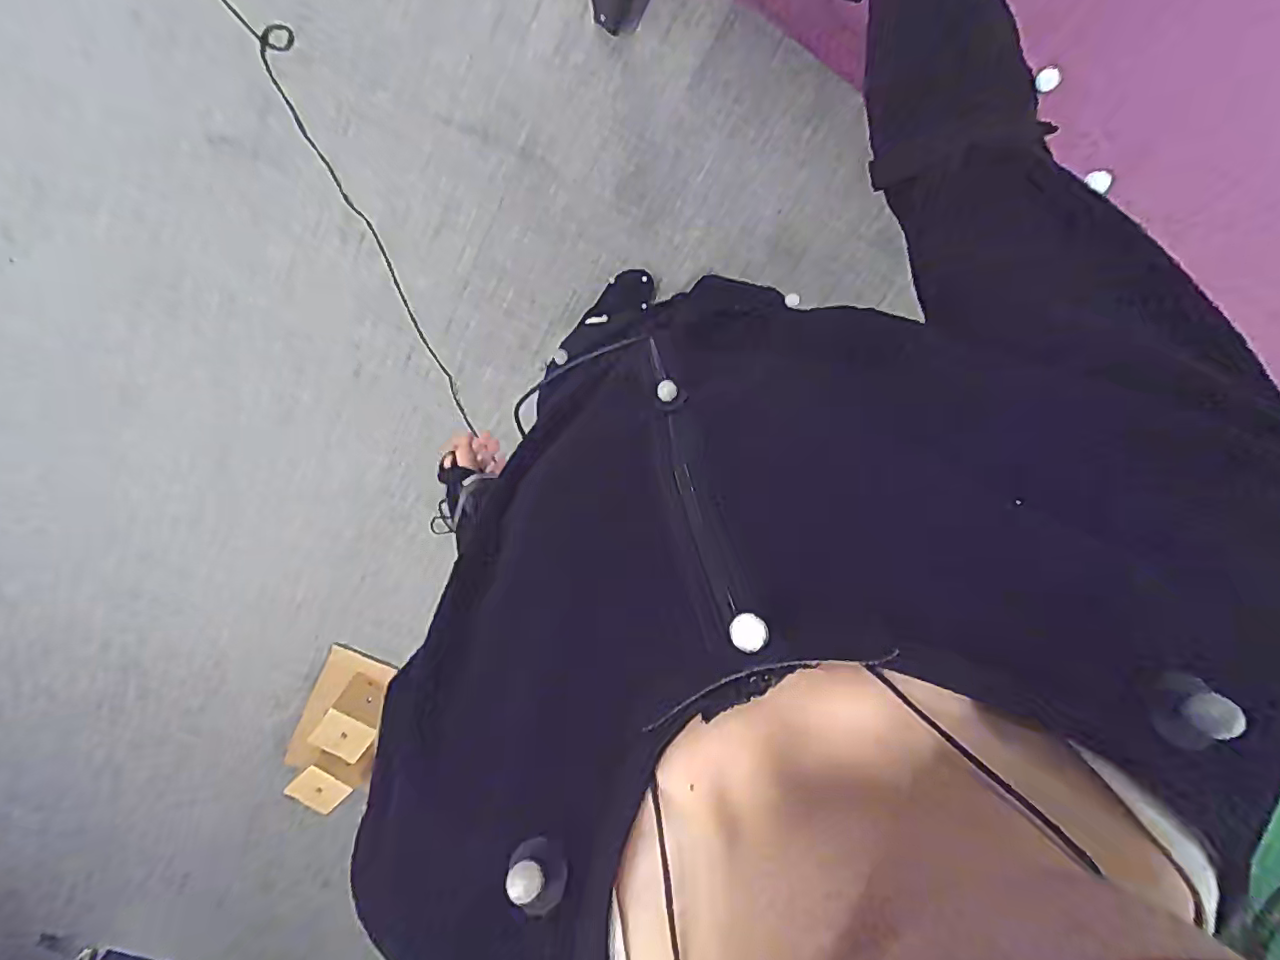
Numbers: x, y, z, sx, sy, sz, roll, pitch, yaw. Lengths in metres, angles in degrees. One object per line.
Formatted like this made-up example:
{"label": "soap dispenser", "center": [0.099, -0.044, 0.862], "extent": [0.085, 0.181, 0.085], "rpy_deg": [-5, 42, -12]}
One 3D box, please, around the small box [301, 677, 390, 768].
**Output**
{"label": "small box", "center": [-0.944, 0.781, 1.756], "extent": [0.168, 0.176, 0.179], "rpy_deg": [35, 108, -13]}
